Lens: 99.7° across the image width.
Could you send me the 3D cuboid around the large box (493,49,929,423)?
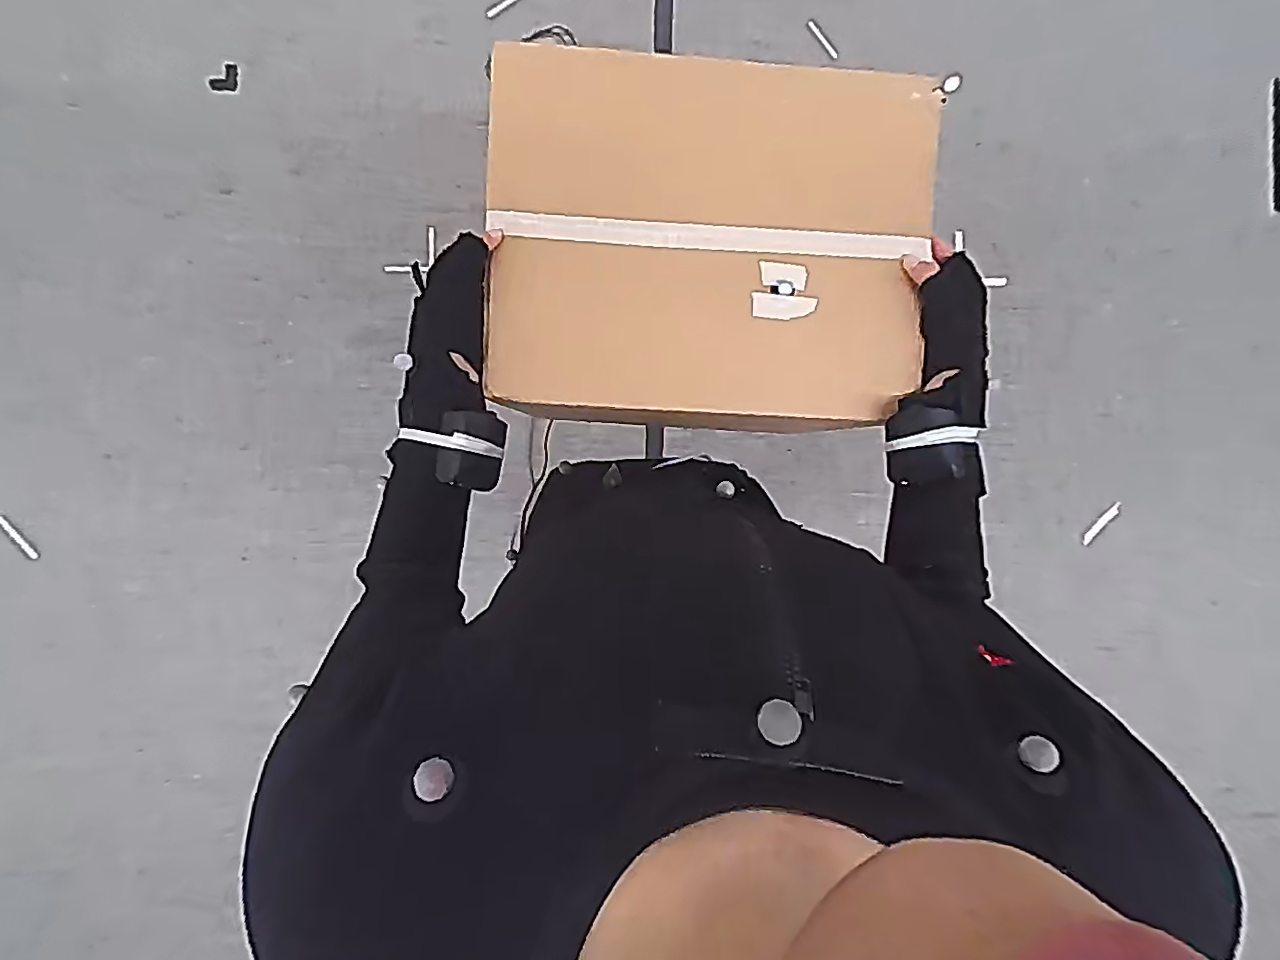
[{"bbox_3d":[0.057,-0.236,0.652,0.408,0.320,0.320,3,95,-3],"label":"large box"}]
